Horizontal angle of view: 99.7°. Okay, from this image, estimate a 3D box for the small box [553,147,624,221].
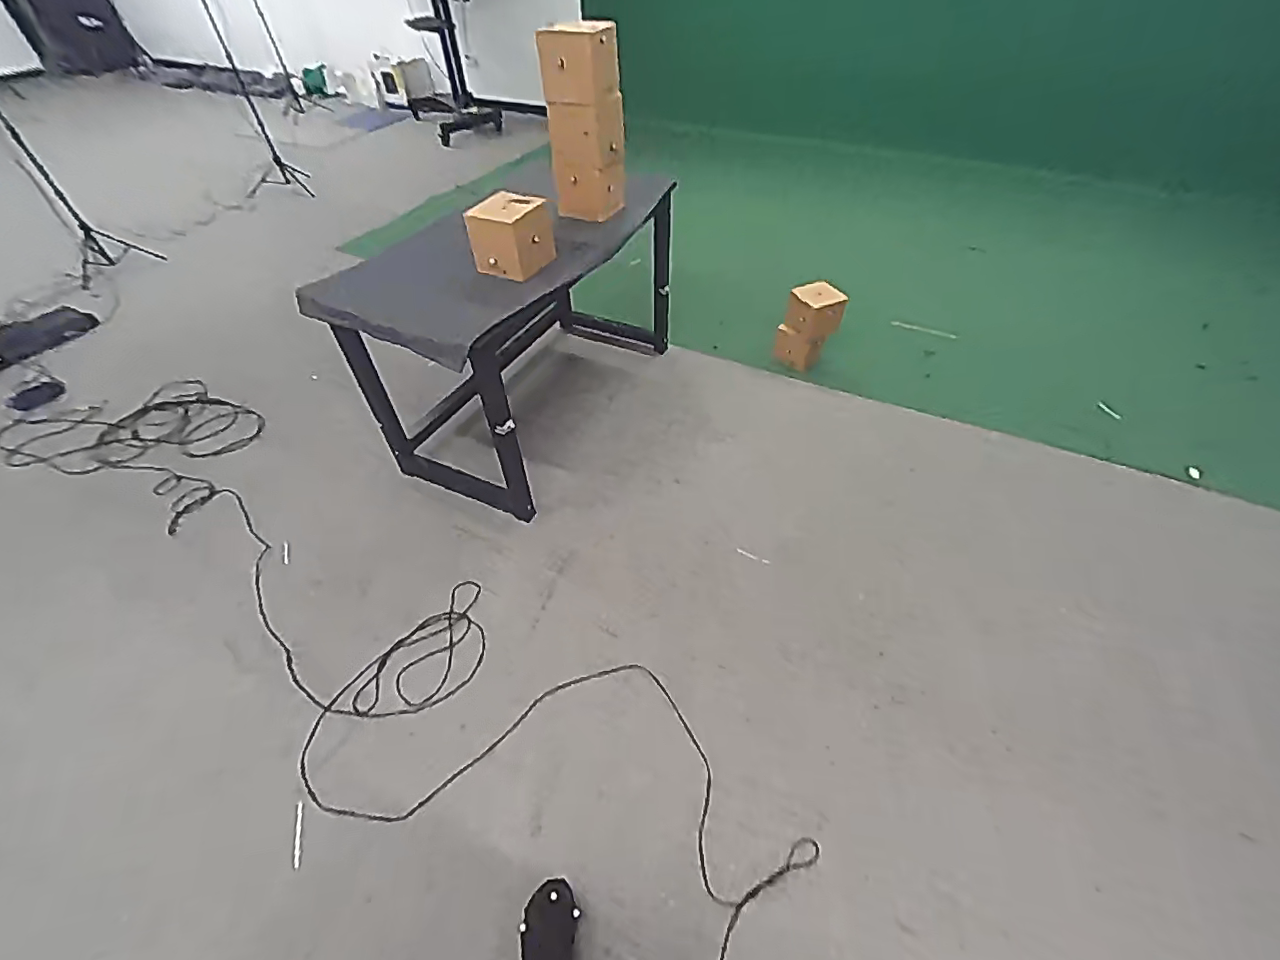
[{"bbox_3d":[-0.165,-0.987,1.809,0.179,0.176,0.168,19,51,19],"label":"small box"}]

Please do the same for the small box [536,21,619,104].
[{"bbox_3d":[-0.175,-1.208,1.566,0.179,0.176,0.168,16,50,17],"label":"small box"}]

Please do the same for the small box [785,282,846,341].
[{"bbox_3d":[0.743,-0.719,2.316,0.179,0.176,0.168,-20,52,-17],"label":"small box"}]

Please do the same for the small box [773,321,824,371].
[{"bbox_3d":[0.719,-0.623,2.450,0.168,0.176,0.179,34,57,27],"label":"small box"}]

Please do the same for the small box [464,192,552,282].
[{"bbox_3d":[-0.365,-0.692,1.541,0.168,0.176,0.179,20,51,19],"label":"small box"}]
